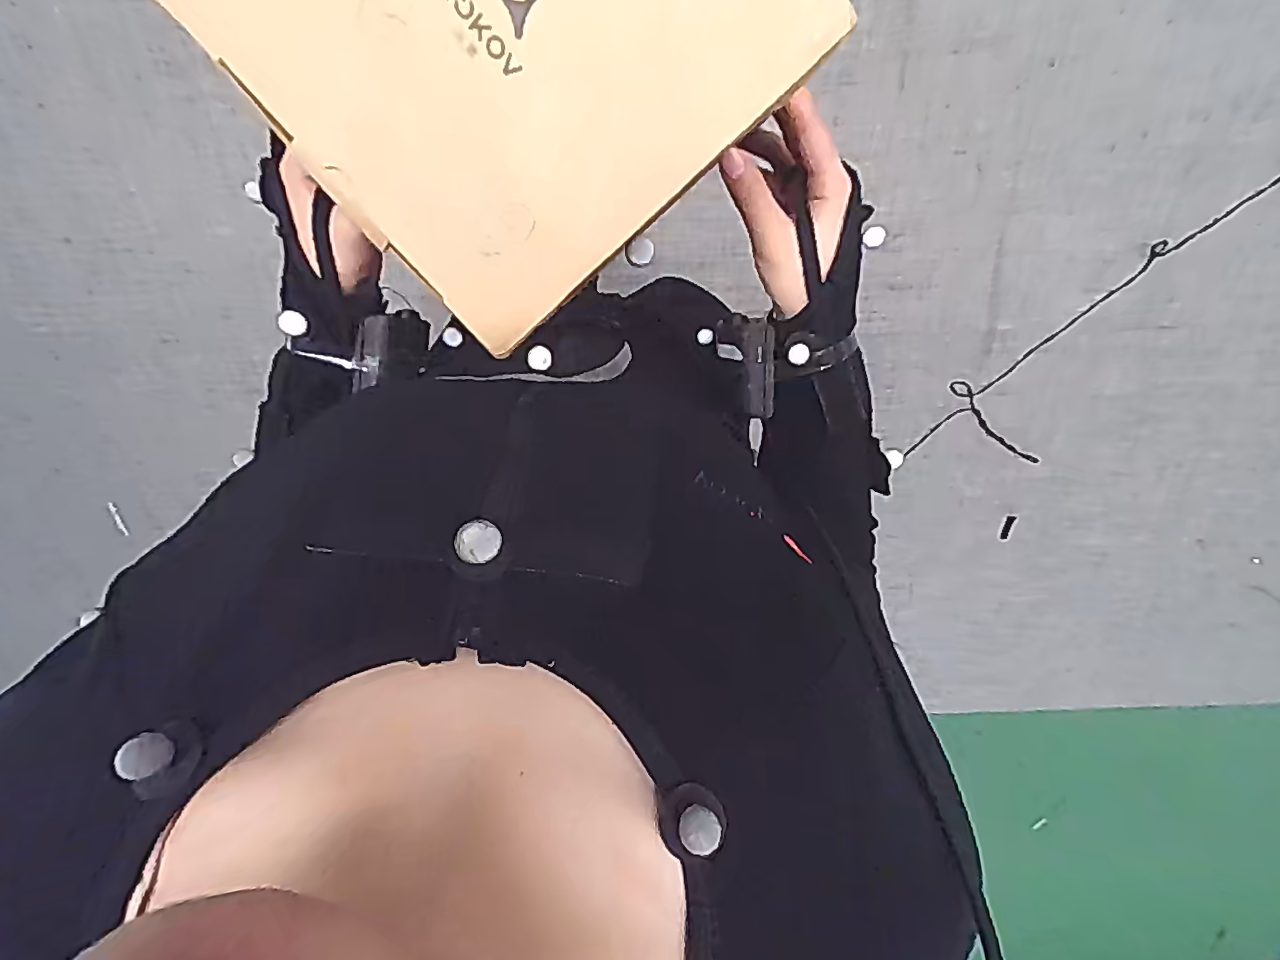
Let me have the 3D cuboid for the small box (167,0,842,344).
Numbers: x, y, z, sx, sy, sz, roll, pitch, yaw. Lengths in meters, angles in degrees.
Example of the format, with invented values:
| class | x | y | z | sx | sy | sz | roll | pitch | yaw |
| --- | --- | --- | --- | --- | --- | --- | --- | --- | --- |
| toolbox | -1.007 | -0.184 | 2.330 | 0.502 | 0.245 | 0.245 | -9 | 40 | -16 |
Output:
| class | x | y | z | sx | sy | sz | roll | pitch | yaw |
| --- | --- | --- | --- | --- | --- | --- | --- | --- | --- |
| small box | -0.044 | -0.193 | 0.250 | 0.179 | 0.176 | 0.168 | -37 | 109 | 17 |
